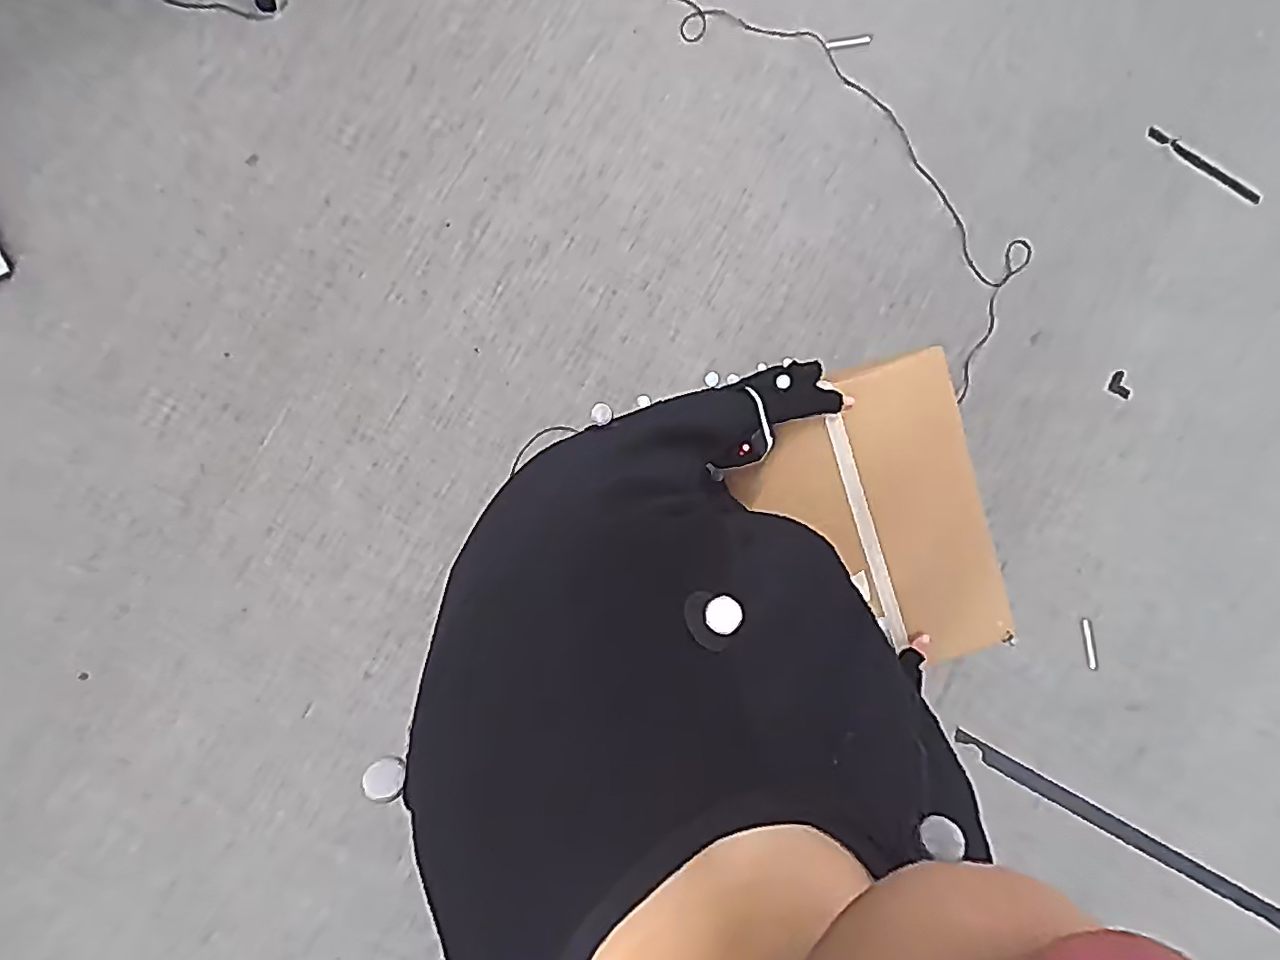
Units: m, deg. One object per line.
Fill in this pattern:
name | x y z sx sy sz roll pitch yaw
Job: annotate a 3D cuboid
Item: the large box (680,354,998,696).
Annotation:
large box | 0.282 0.049 0.869 0.320 0.320 0.408 -19 98 2
